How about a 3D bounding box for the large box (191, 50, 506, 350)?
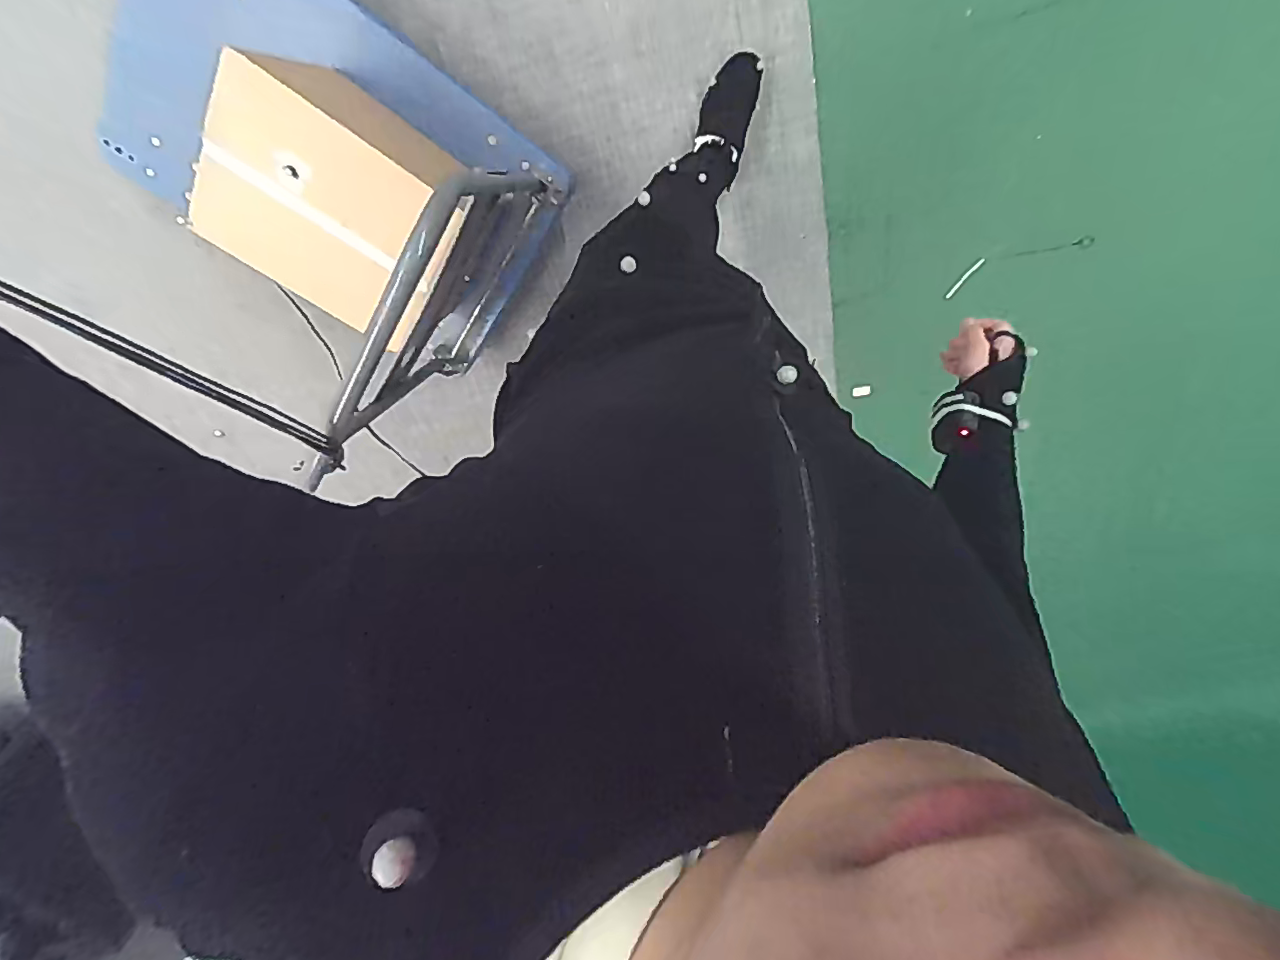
[{"bbox_3d":[-0.539,-0.531,1.064,0.408,0.320,0.320,32,117,-16],"label":"large box"}]
